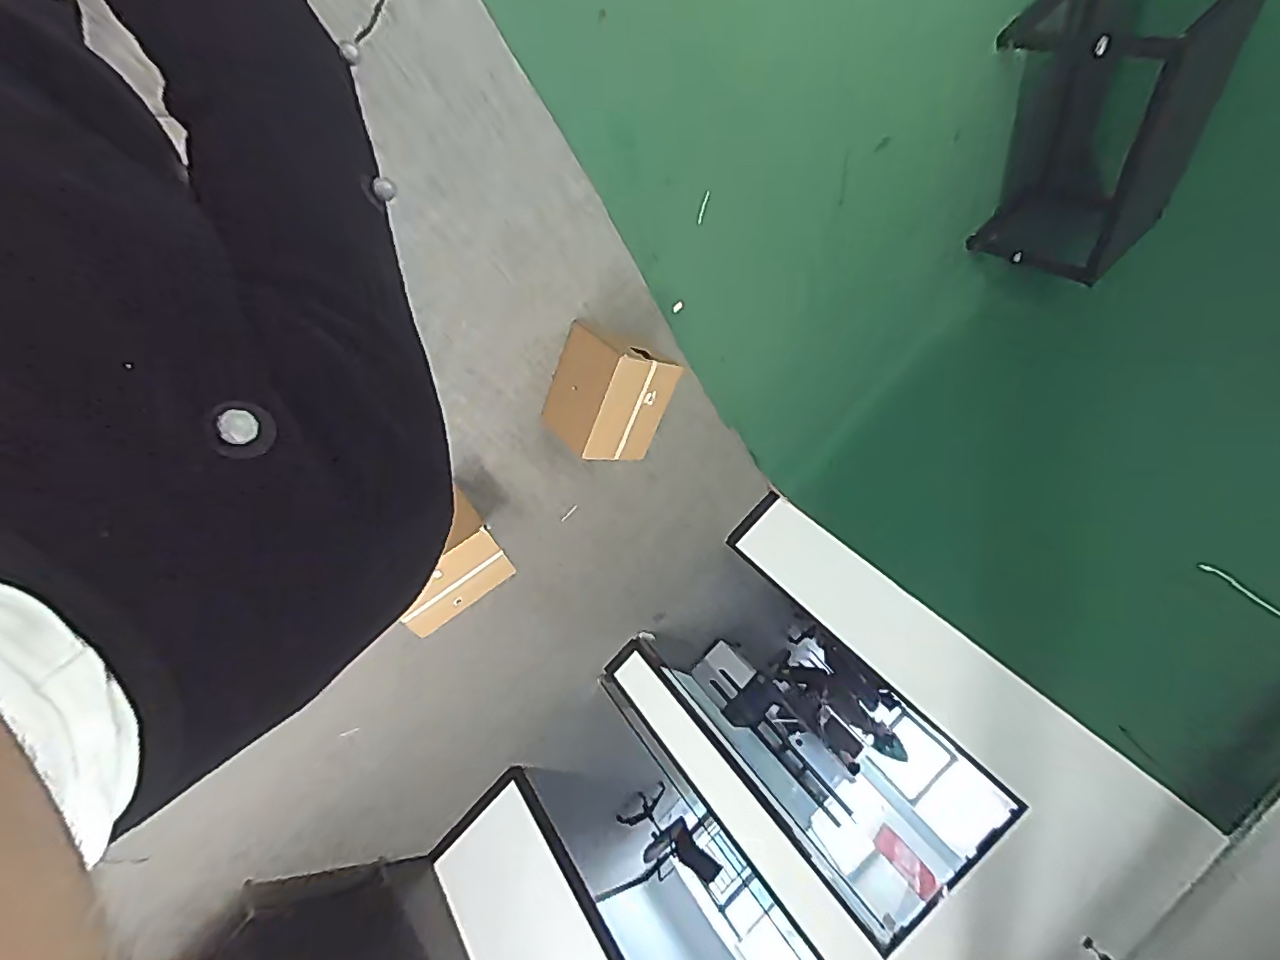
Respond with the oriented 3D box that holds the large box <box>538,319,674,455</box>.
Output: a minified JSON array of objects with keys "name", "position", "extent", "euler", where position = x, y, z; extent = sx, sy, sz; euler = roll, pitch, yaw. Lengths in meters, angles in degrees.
[{"name":"large box","position":[-0.139,-0.342,2.040],"extent":[0.320,0.320,0.408],"euler":[-3,125,-45]}]
